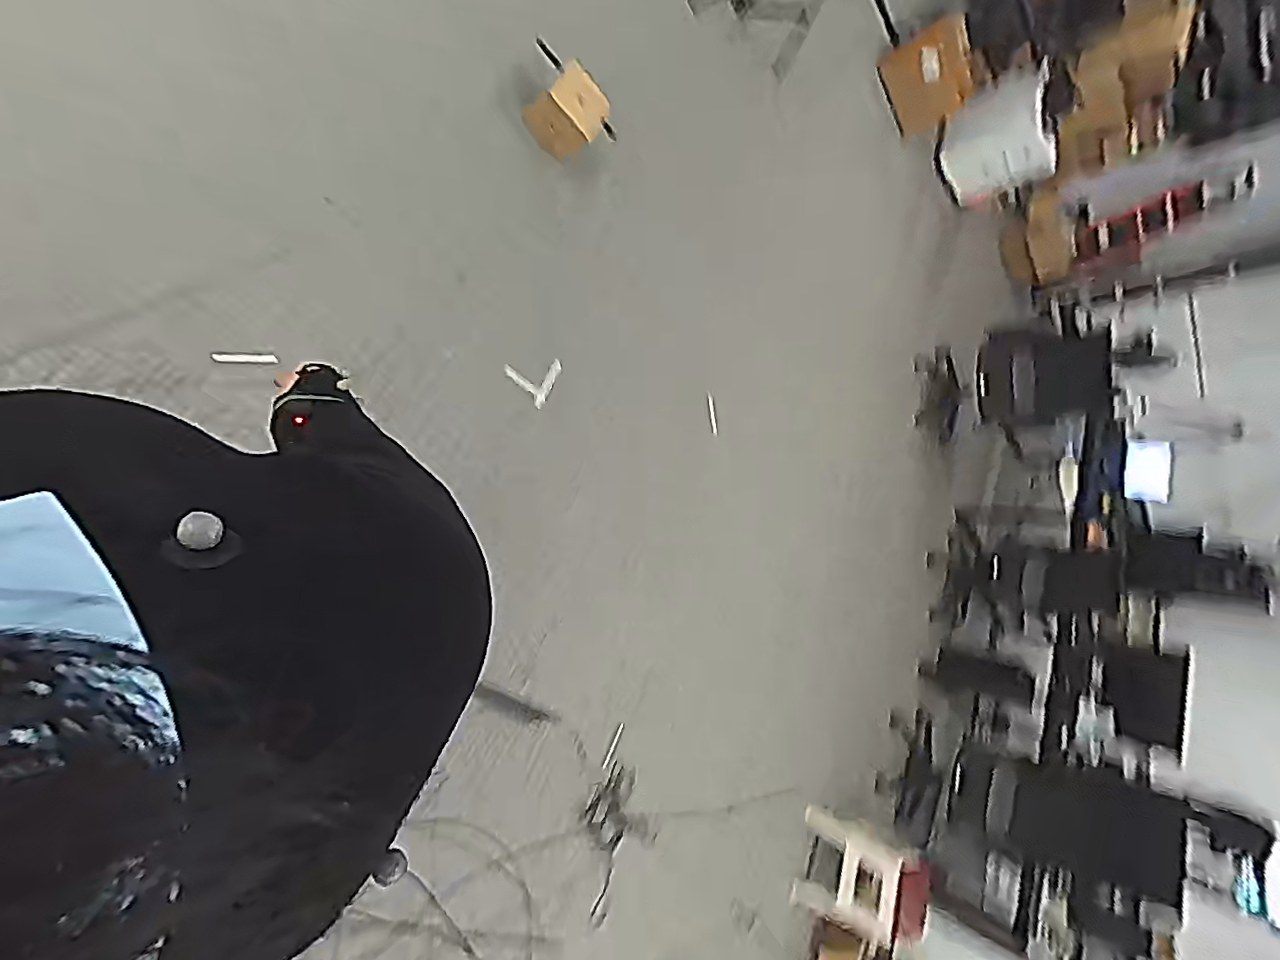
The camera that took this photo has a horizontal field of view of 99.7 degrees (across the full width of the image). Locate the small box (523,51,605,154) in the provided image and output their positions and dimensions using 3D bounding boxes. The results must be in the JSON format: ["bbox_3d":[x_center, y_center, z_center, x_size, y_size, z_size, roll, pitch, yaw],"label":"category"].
[{"bbox_3d":[-0.246,-1.183,1.708,0.168,0.176,0.179,37,66,-34],"label":"small box"}]
